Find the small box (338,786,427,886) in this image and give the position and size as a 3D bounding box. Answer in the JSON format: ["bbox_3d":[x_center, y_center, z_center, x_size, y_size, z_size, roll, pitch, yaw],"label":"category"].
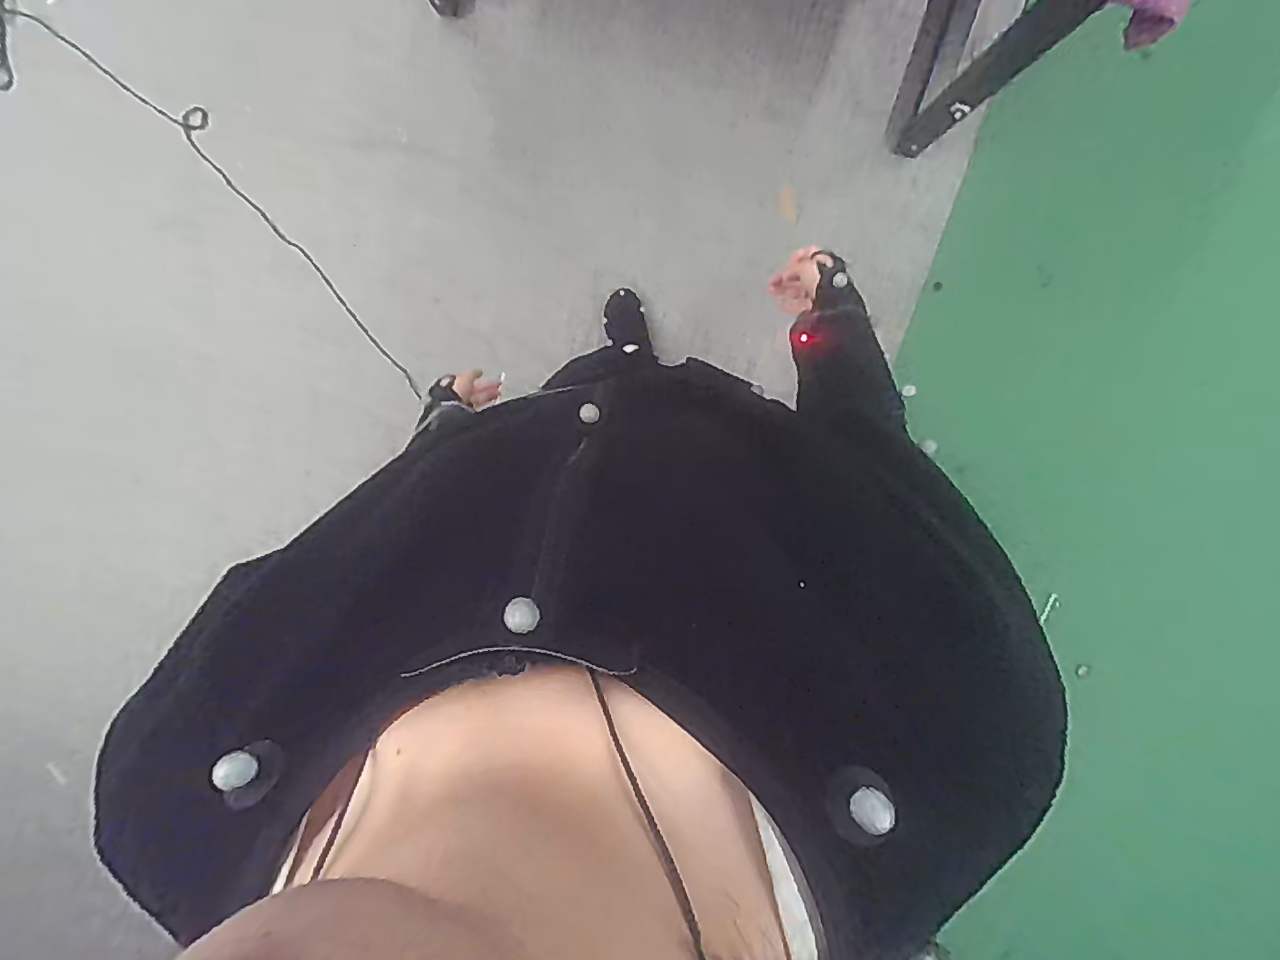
[{"bbox_3d":[-0.815,1.133,1.730,0.168,0.176,0.179,33,104,-5],"label":"small box"}]
